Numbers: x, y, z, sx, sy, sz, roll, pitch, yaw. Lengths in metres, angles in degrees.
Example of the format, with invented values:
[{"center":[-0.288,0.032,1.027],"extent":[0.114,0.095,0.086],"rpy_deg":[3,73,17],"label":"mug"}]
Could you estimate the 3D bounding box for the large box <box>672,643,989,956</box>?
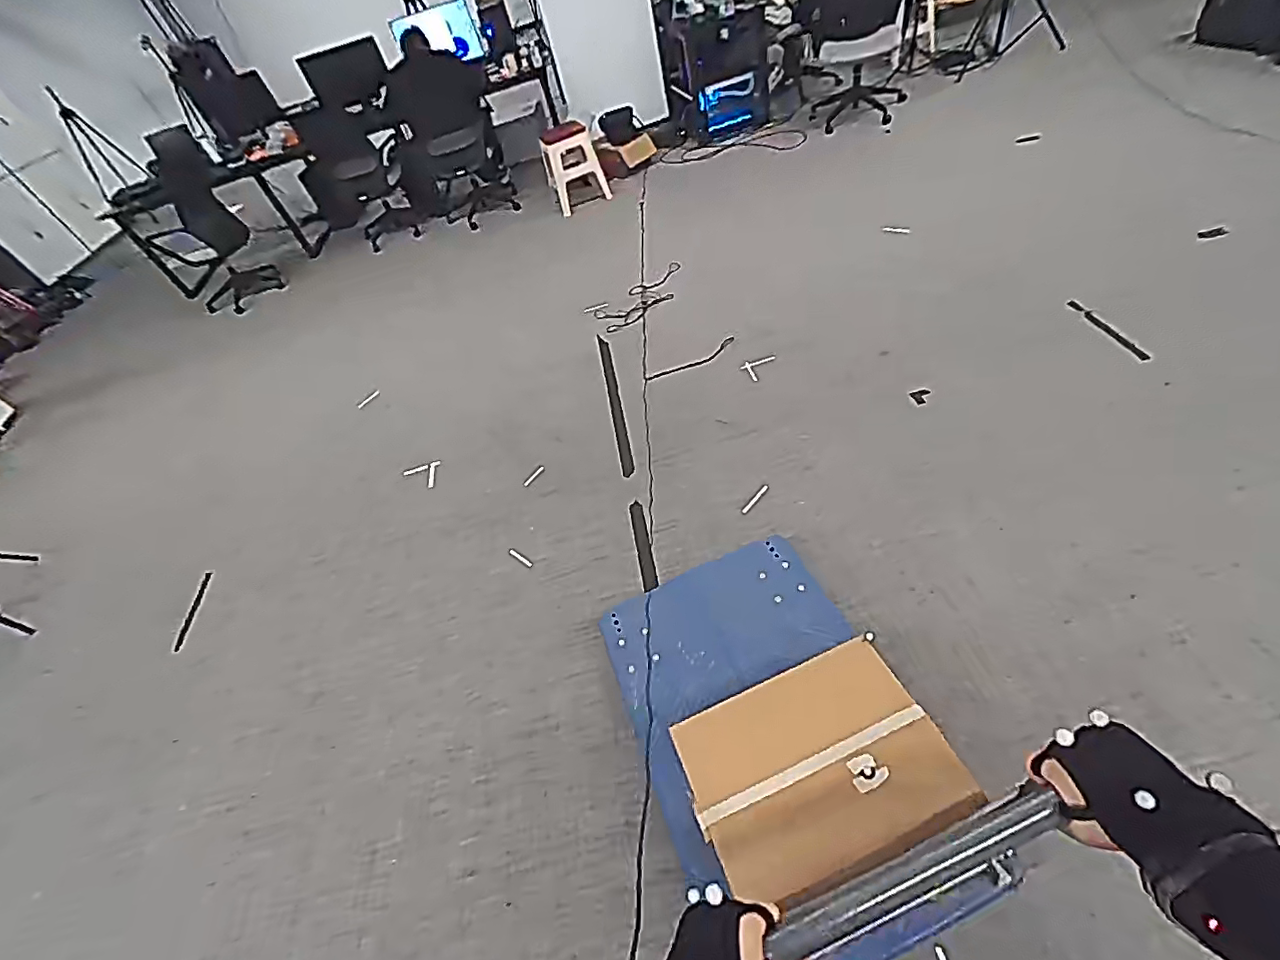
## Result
[{"center":[0.319,0.577,0.984],"extent":[0.408,0.320,0.320],"rpy_deg":[-24,45,-5],"label":"large box"}]
